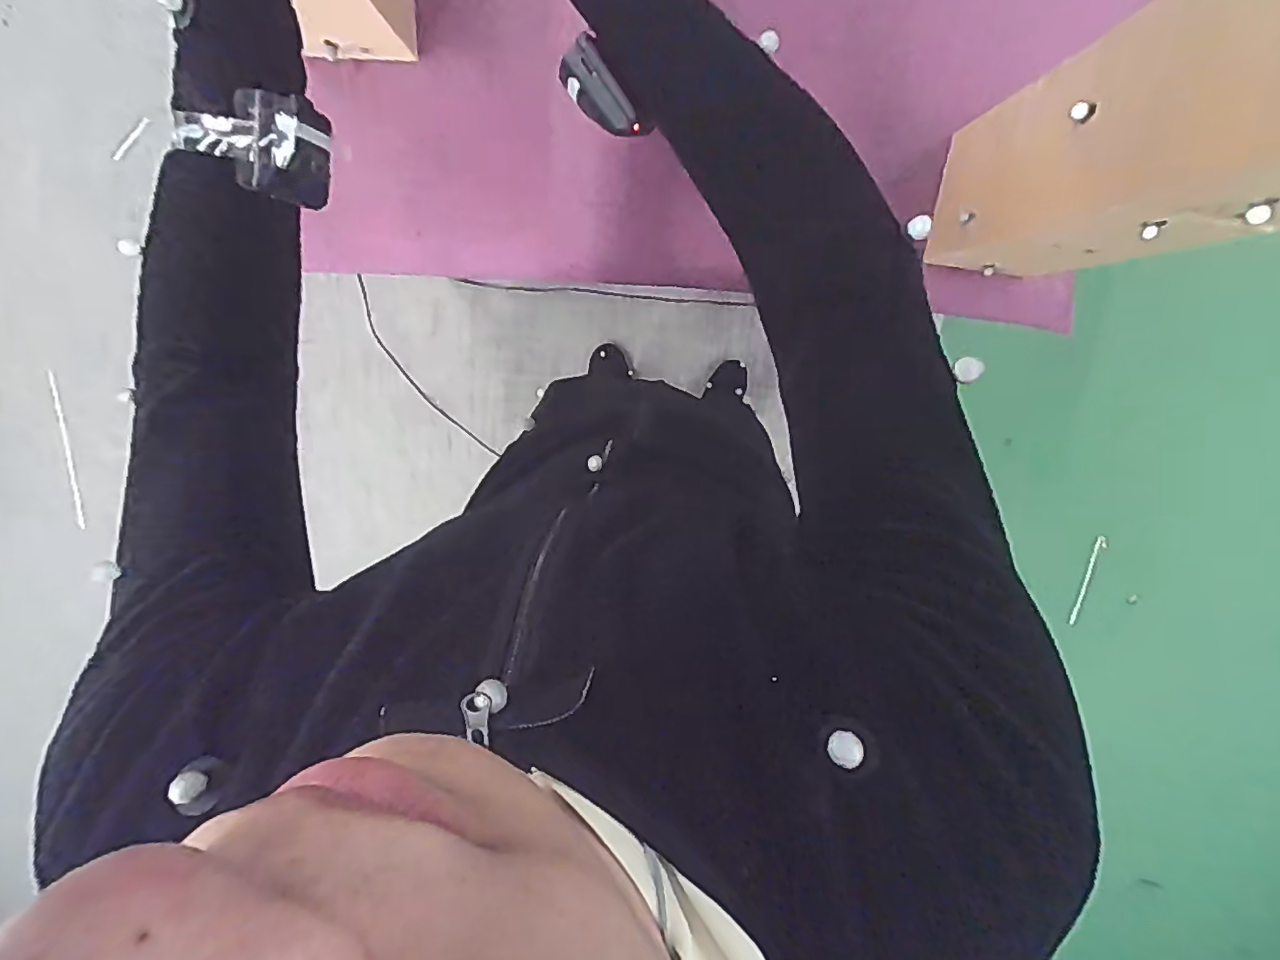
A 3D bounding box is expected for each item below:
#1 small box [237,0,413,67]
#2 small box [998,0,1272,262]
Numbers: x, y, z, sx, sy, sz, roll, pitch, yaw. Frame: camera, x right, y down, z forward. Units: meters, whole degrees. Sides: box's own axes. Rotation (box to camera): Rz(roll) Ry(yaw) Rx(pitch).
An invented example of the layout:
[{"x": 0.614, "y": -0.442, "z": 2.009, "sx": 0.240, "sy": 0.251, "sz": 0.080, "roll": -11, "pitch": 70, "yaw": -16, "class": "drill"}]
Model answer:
[{"x": -0.386, "y": -0.632, "z": 0.639, "sx": 0.168, "sy": 0.176, "sz": 0.179, "roll": 1, "pitch": 105, "yaw": -1, "class": "small box"}, {"x": 0.513, "y": -0.340, "z": 0.556, "sx": 0.168, "sy": 0.176, "sz": 0.179, "roll": 8, "pitch": 103, "yaw": -1, "class": "small box"}]
